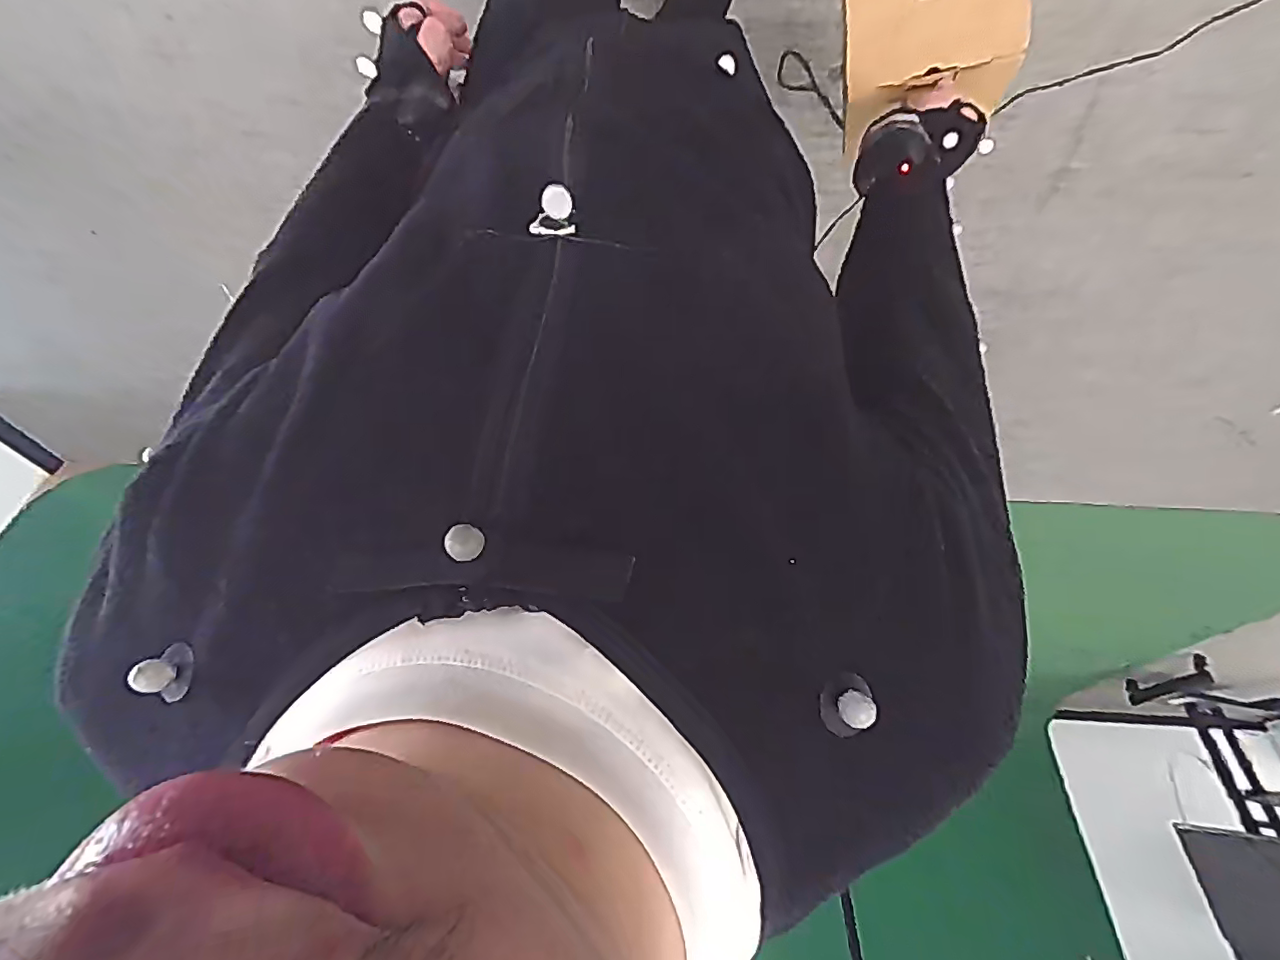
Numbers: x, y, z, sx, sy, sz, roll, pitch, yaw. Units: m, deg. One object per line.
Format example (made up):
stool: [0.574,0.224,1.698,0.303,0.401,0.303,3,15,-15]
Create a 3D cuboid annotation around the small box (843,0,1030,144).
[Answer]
small box: [0.320,-0.508,0.608,0.168,0.179,0.176,0,-171,19]
